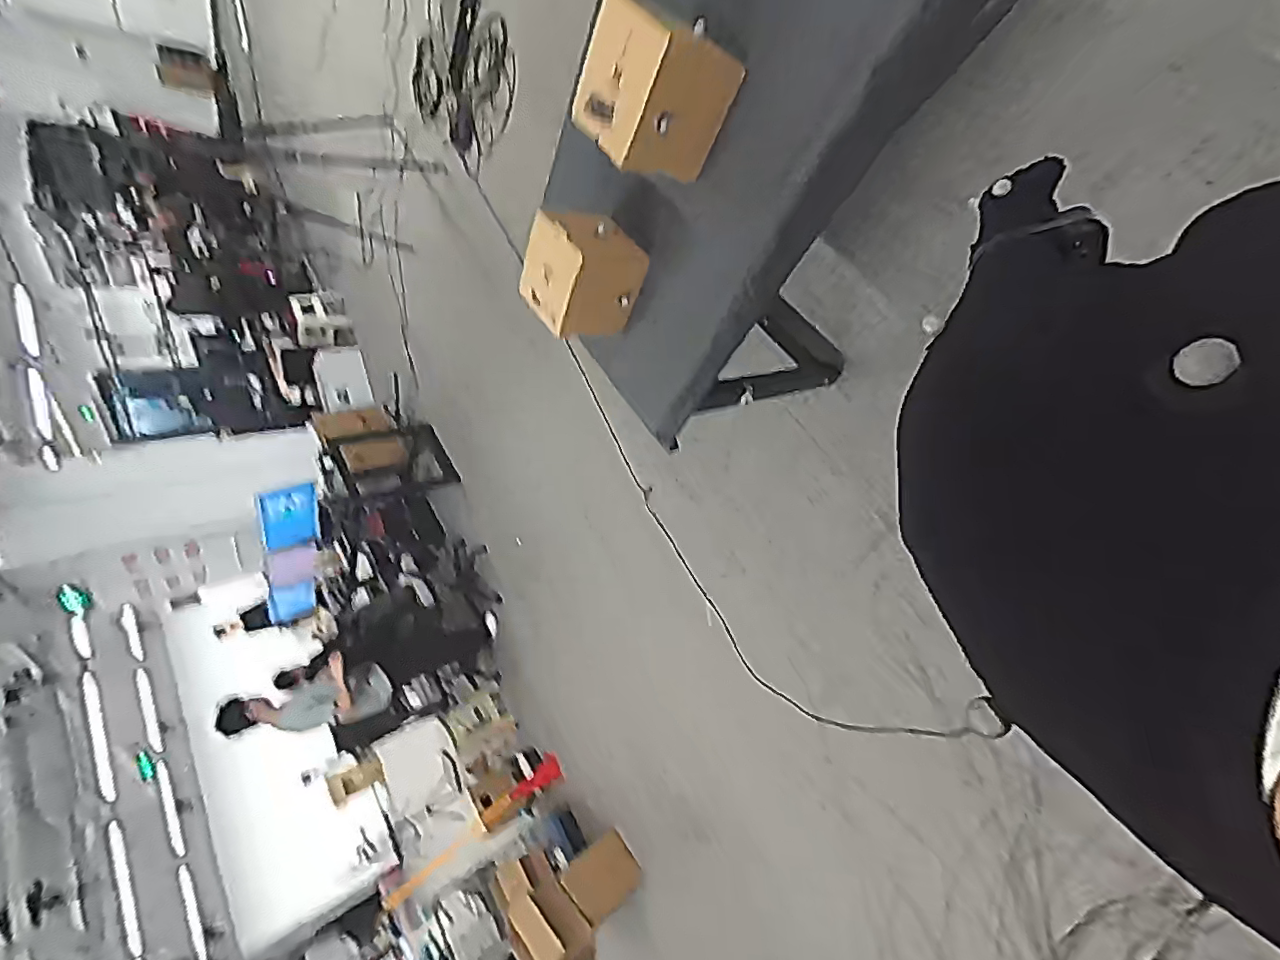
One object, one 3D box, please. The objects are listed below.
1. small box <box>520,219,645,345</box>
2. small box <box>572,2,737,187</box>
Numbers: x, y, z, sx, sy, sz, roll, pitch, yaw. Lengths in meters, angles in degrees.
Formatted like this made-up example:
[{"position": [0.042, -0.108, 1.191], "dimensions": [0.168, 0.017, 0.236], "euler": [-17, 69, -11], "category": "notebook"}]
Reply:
[{"position": [-0.114, -0.396, 1.092], "dimensions": [0.168, 0.176, 0.179], "euler": [52, 135, 25], "category": "small box"}, {"position": [0.022, -0.599, 0.864], "dimensions": [0.168, 0.176, 0.179], "euler": [54, 136, 23], "category": "small box"}]
